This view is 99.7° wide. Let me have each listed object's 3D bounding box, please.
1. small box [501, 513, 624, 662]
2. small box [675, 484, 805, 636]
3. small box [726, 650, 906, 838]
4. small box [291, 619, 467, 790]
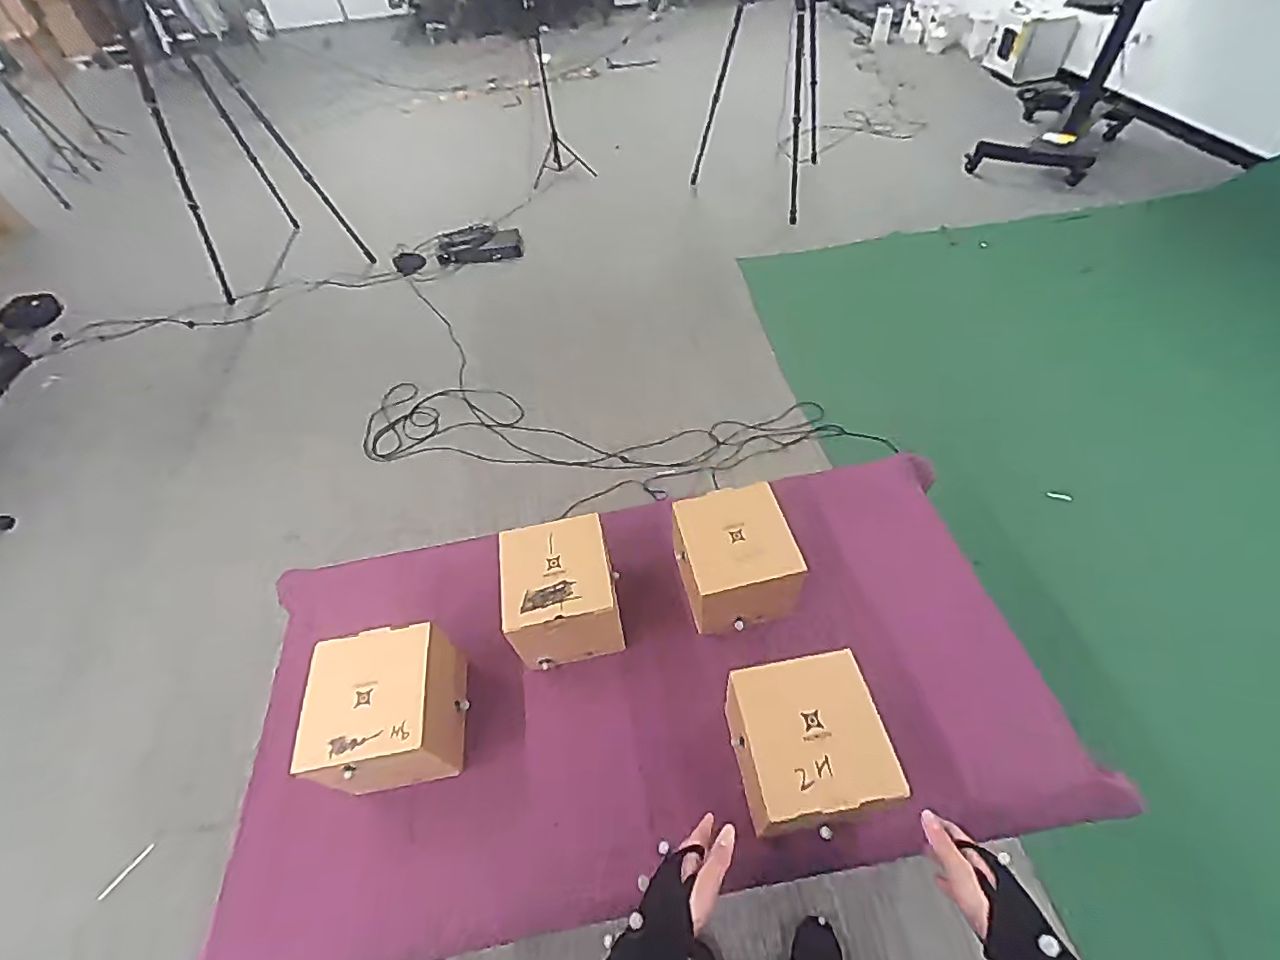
[{"bbox_3d":[-0.125,0.184,0.891,0.168,0.176,0.179,-11,51,-3],"label":"small box"},{"bbox_3d":[0.155,0.135,0.905,0.168,0.176,0.179,-12,52,-3],"label":"small box"},{"bbox_3d":[0.215,0.353,0.721,0.168,0.176,0.179,-9,50,-1],"label":"small box"},{"bbox_3d":[-0.363,0.331,0.793,0.168,0.176,0.179,-10,51,-1],"label":"small box"}]
